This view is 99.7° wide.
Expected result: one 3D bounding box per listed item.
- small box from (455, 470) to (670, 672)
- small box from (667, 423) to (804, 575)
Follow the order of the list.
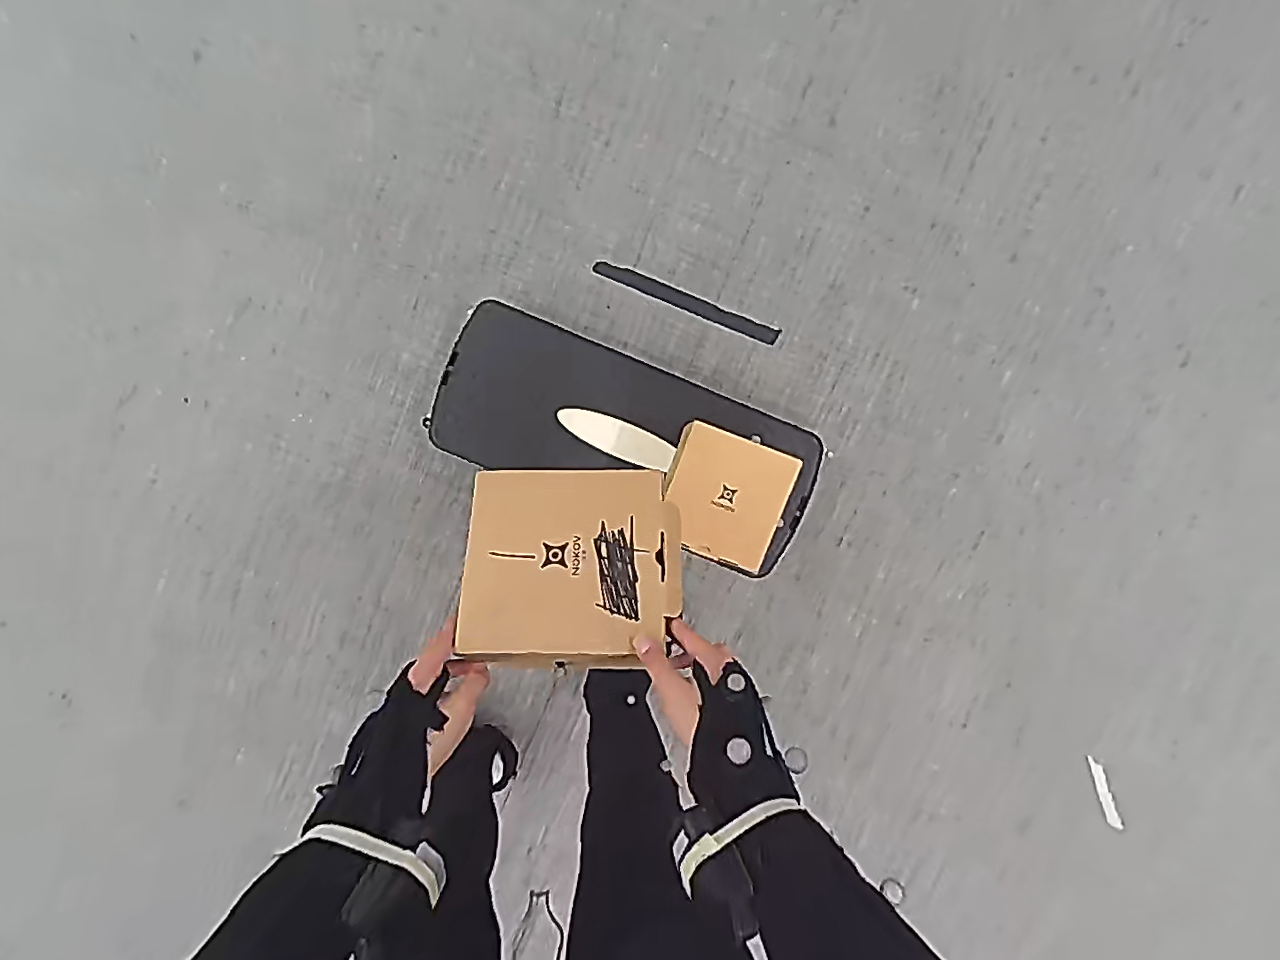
[{"bbox_3d":[-0.063,0.098,0.541,0.179,0.176,0.168,0,67,1],"label":"small box"},{"bbox_3d":[0.126,0.022,0.844,0.168,0.176,0.179,21,94,-1],"label":"small box"}]
